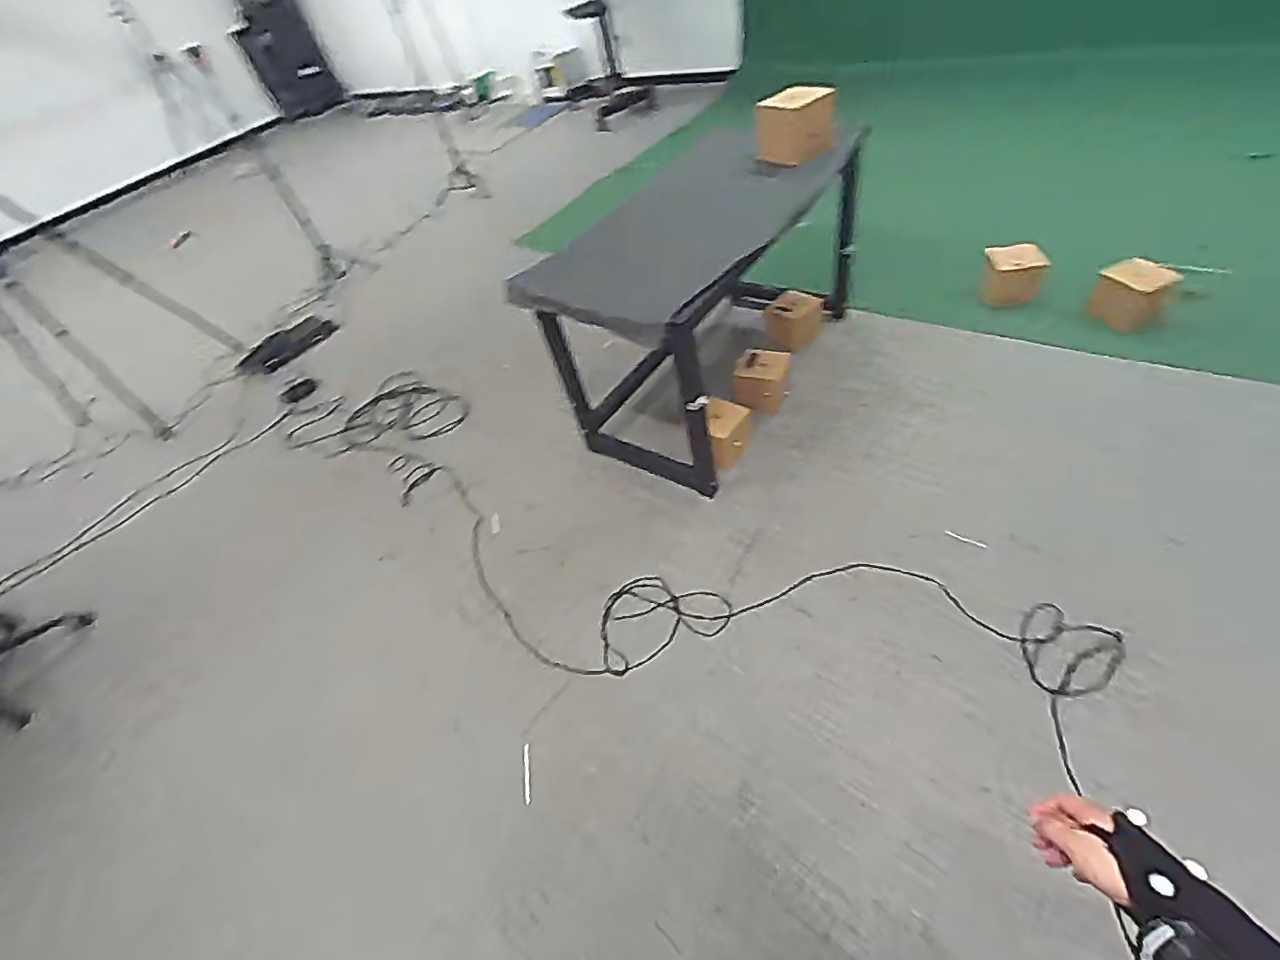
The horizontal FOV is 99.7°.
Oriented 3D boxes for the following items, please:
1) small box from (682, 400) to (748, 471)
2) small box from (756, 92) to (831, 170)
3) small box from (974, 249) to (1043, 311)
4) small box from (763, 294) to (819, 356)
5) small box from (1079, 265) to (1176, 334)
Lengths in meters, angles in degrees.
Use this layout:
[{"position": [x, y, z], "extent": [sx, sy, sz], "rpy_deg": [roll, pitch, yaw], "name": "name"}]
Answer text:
[{"position": [0.281, -0.157, 1.969], "extent": [0.179, 0.176, 0.168], "rpy_deg": [27, 61, 33], "name": "small box"}, {"position": [0.505, -1.145, 1.780], "extent": [0.168, 0.176, 0.179], "rpy_deg": [-33, 47, -14], "name": "small box"}, {"position": [1.504, -0.819, 2.221], "extent": [0.168, 0.176, 0.179], "rpy_deg": [-5, 48, 11], "name": "small box"}, {"position": [0.645, -0.659, 2.308], "extent": [0.179, 0.176, 0.168], "rpy_deg": [-38, 51, -20], "name": "small box"}, {"position": [1.797, -0.663, 2.004], "extent": [0.168, 0.176, 0.179], "rpy_deg": [-21, 47, -6], "name": "small box"}]
